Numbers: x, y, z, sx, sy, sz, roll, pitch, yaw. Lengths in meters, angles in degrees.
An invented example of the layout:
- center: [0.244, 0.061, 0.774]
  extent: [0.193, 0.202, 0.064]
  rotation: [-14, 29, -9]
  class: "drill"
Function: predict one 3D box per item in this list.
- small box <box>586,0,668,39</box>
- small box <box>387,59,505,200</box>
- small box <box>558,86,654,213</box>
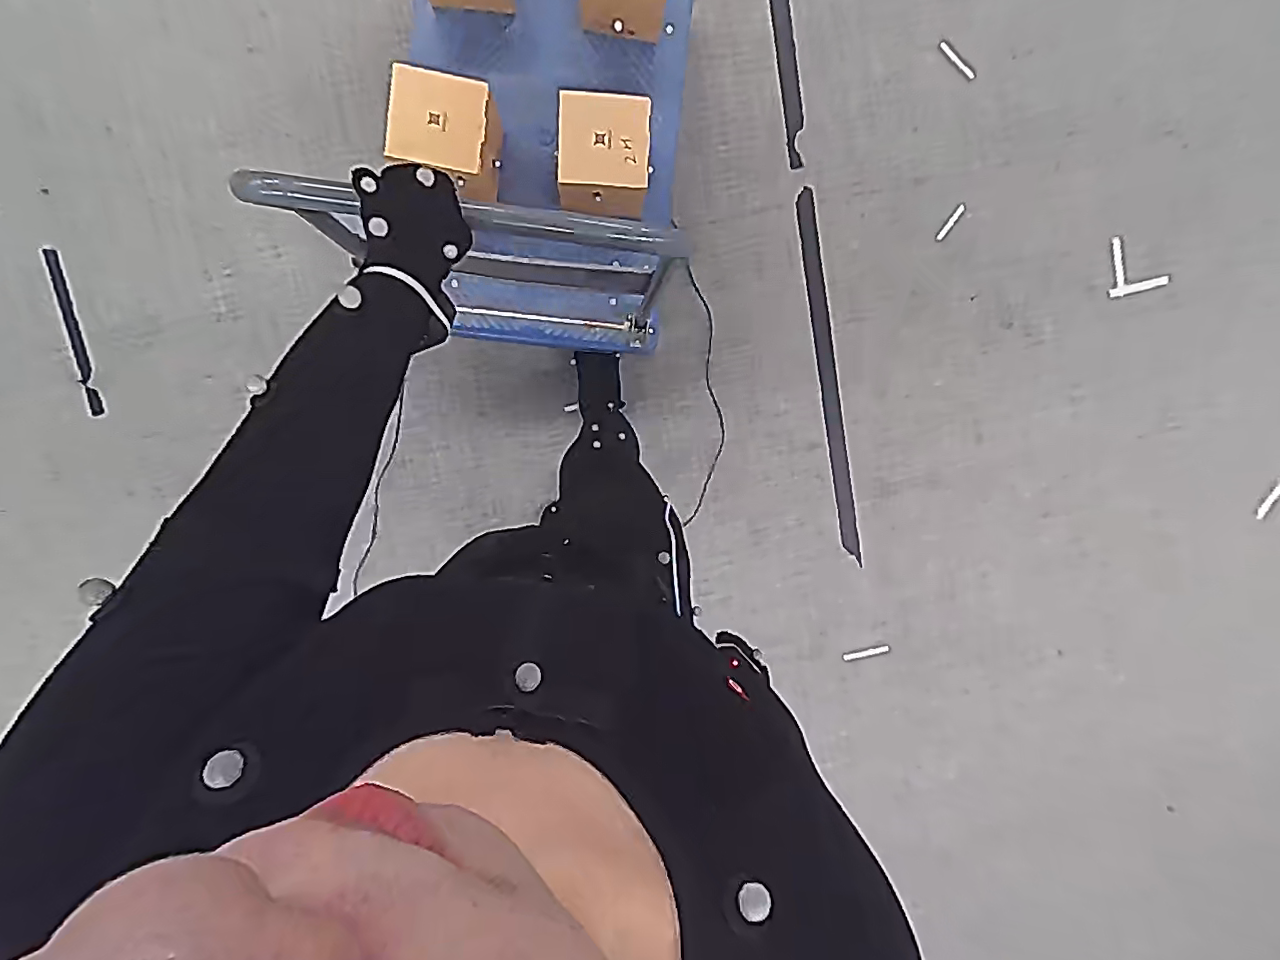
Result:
- center: [-0.019, -1.023, 1.056]
  extent: [0.168, 0.176, 0.179]
  rotation: [7, 98, -5]
  class: "small box"
- center: [-0.378, -0.683, 1.075]
  extent: [0.179, 0.176, 0.168]
  rotation: [8, 97, -7]
  class: "small box"
- center: [-0.070, -0.661, 1.102]
  extent: [0.179, 0.176, 0.168]
  rotation: [2, 98, -5]
  class: "small box"
